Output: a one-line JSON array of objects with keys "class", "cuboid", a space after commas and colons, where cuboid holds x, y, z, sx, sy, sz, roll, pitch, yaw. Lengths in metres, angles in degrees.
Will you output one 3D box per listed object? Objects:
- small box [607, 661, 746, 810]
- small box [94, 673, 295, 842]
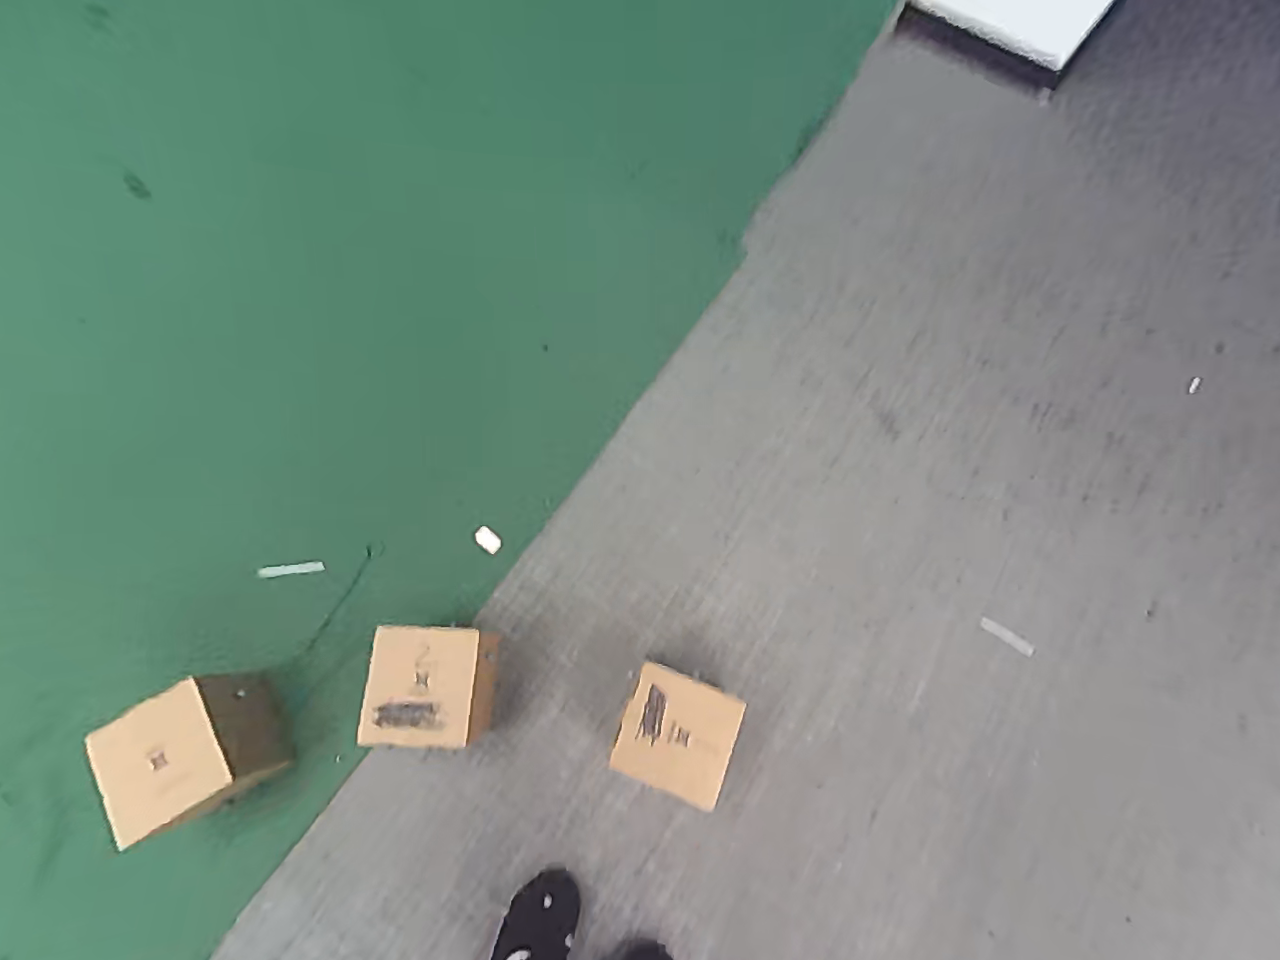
[{"class": "small box", "cuboid": [0.055, 0.422, 0.919, 0.179, 0.176, 0.168, 22, 73, 4]}, {"class": "small box", "cuboid": [-0.711, 0.436, 0.882, 0.168, 0.176, 0.179, -30, 76, -11]}]
